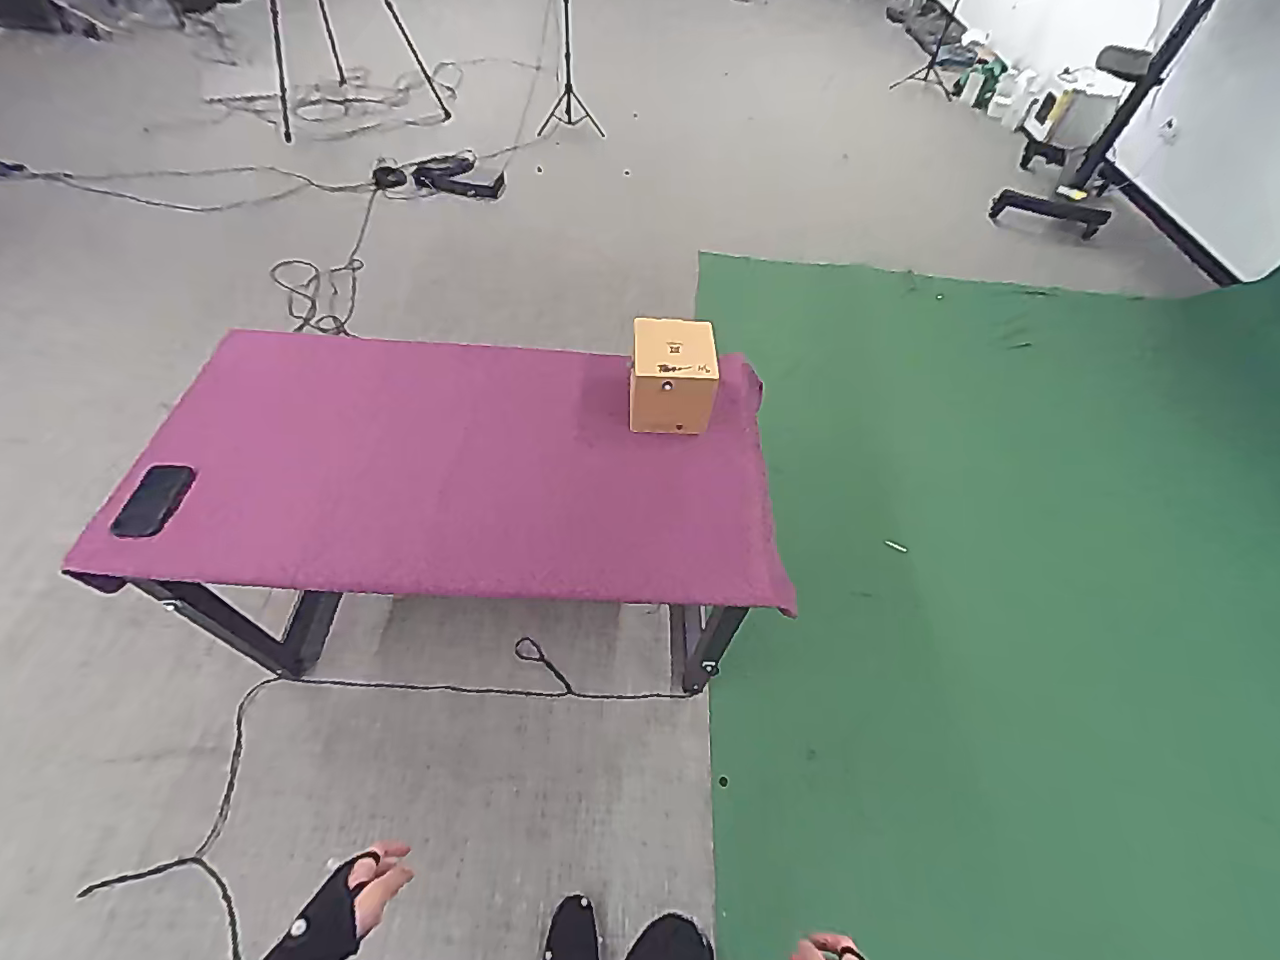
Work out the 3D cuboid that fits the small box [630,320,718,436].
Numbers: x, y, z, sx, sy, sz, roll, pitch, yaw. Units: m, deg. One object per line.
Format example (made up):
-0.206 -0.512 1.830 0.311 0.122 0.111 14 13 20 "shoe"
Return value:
0.064 -0.217 1.154 0.168 0.176 0.179 1 53 -3 "small box"
